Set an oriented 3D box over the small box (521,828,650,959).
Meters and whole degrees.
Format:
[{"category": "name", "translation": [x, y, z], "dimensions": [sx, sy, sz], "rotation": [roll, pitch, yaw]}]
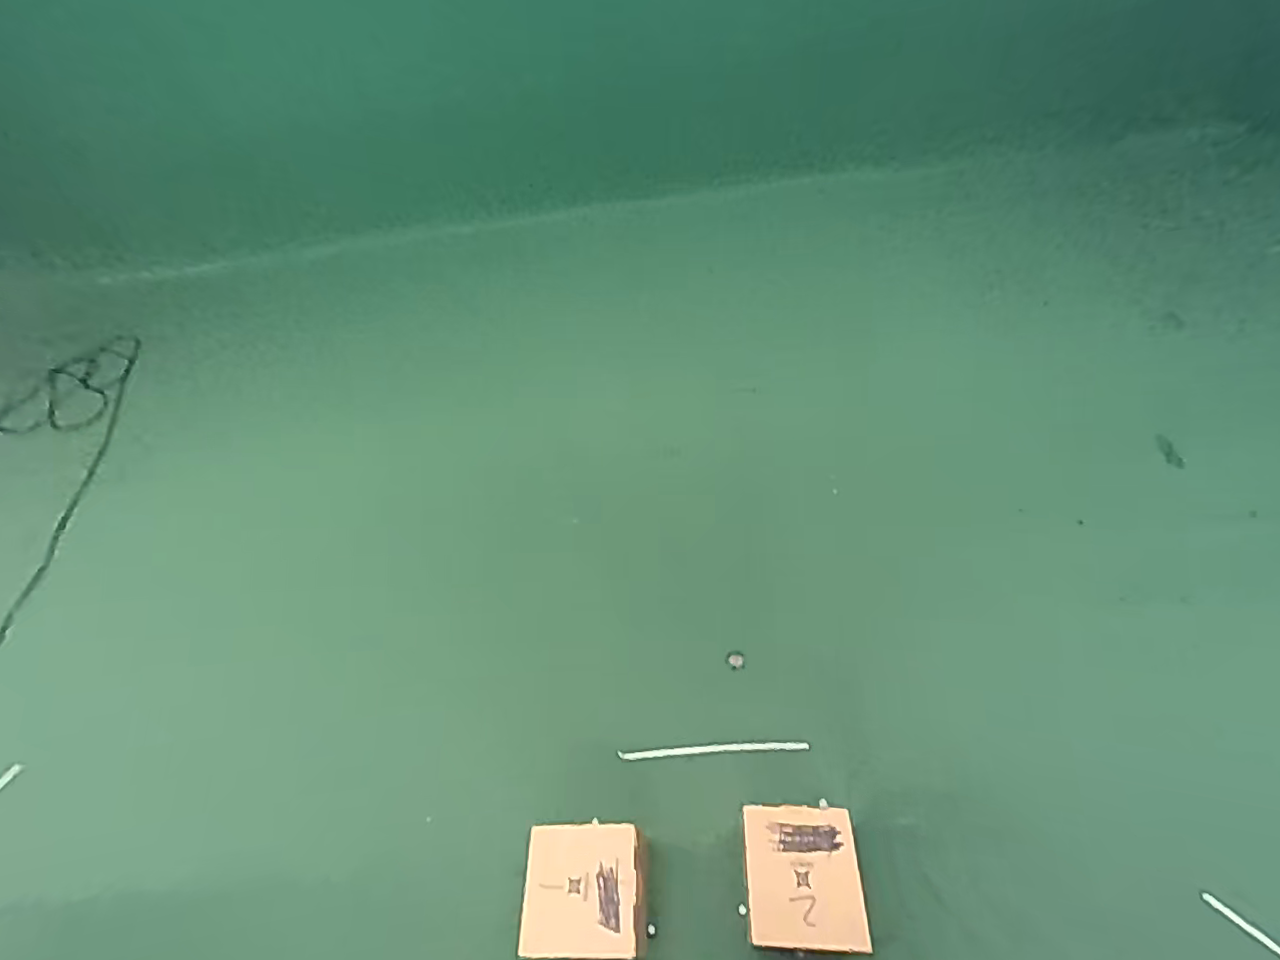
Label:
[{"category": "small box", "translation": [-0.078, 0.684, 0.894], "dimensions": [0.179, 0.176, 0.168], "rotation": [-5, 50, 7]}]
